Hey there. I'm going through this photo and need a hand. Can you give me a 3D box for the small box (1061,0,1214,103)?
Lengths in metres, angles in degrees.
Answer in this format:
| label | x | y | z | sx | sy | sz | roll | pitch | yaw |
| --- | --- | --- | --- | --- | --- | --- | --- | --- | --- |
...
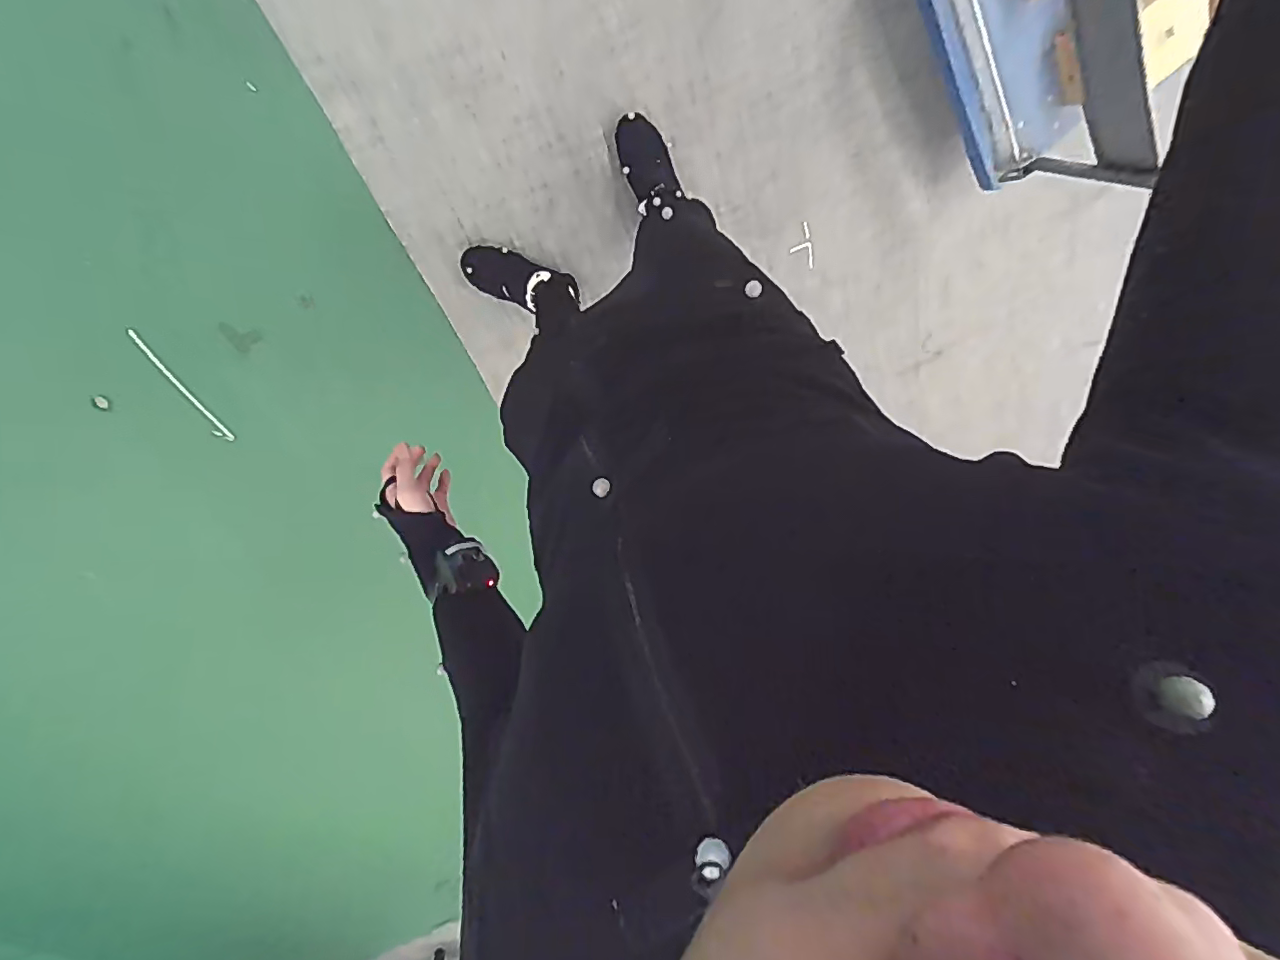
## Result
| label | x | y | z | sx | sy | sz | roll | pitch | yaw |
| --- | --- | --- | --- | --- | --- | --- | --- | --- | --- |
| small box | 1.064 | -0.952 | 1.162 | 0.179 | 0.176 | 0.168 | -38 | 124 | 12 |
